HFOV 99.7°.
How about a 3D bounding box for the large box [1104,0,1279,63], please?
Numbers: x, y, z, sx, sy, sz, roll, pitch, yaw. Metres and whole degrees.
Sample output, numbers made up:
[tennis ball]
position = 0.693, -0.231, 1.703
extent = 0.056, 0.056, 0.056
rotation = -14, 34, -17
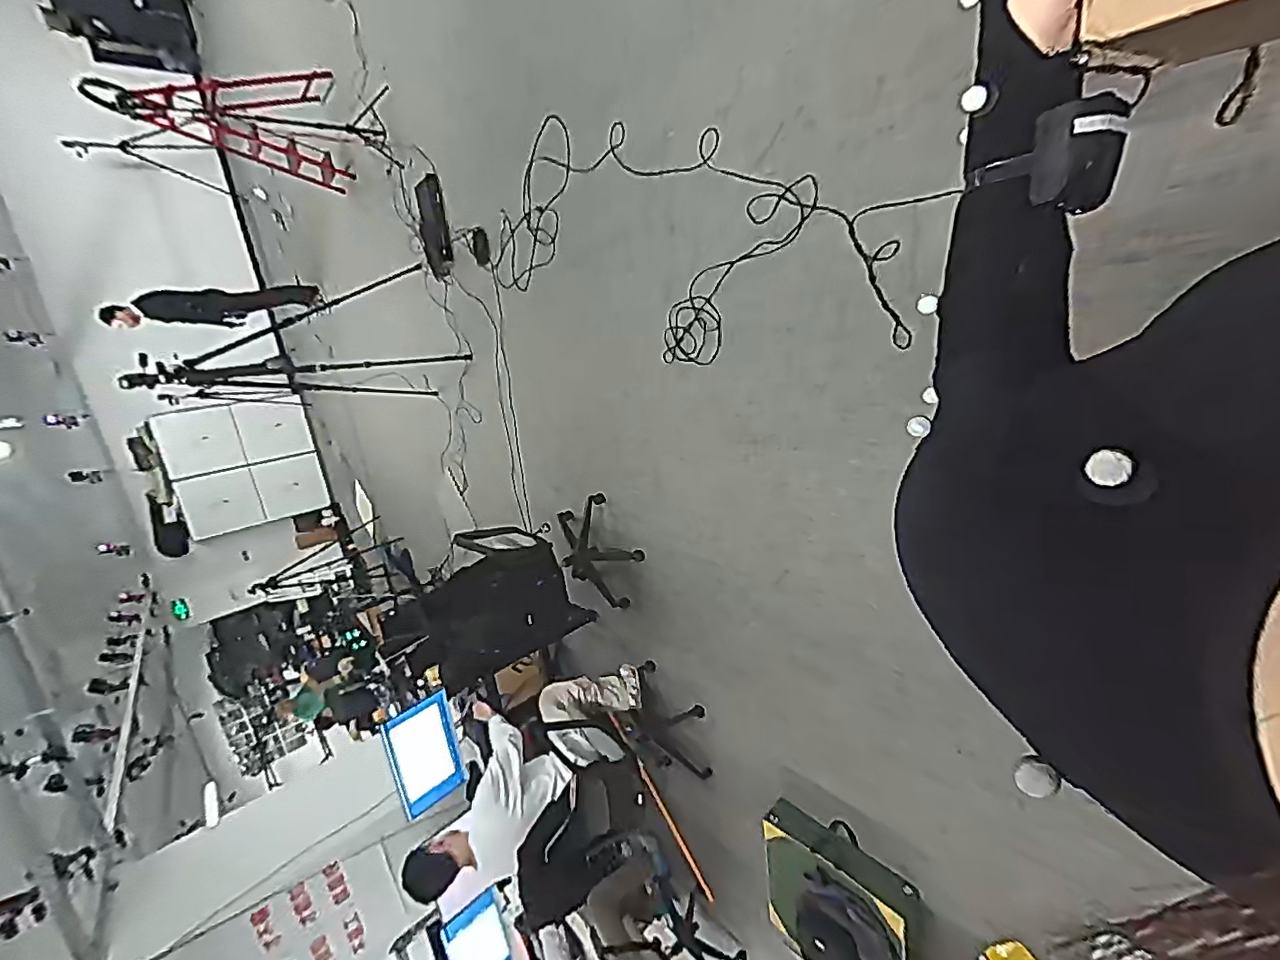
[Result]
[large box]
position = 0.511, -0.455, 0.240
extent = 0.408, 0.320, 0.320
rotation = 14, 124, 48
